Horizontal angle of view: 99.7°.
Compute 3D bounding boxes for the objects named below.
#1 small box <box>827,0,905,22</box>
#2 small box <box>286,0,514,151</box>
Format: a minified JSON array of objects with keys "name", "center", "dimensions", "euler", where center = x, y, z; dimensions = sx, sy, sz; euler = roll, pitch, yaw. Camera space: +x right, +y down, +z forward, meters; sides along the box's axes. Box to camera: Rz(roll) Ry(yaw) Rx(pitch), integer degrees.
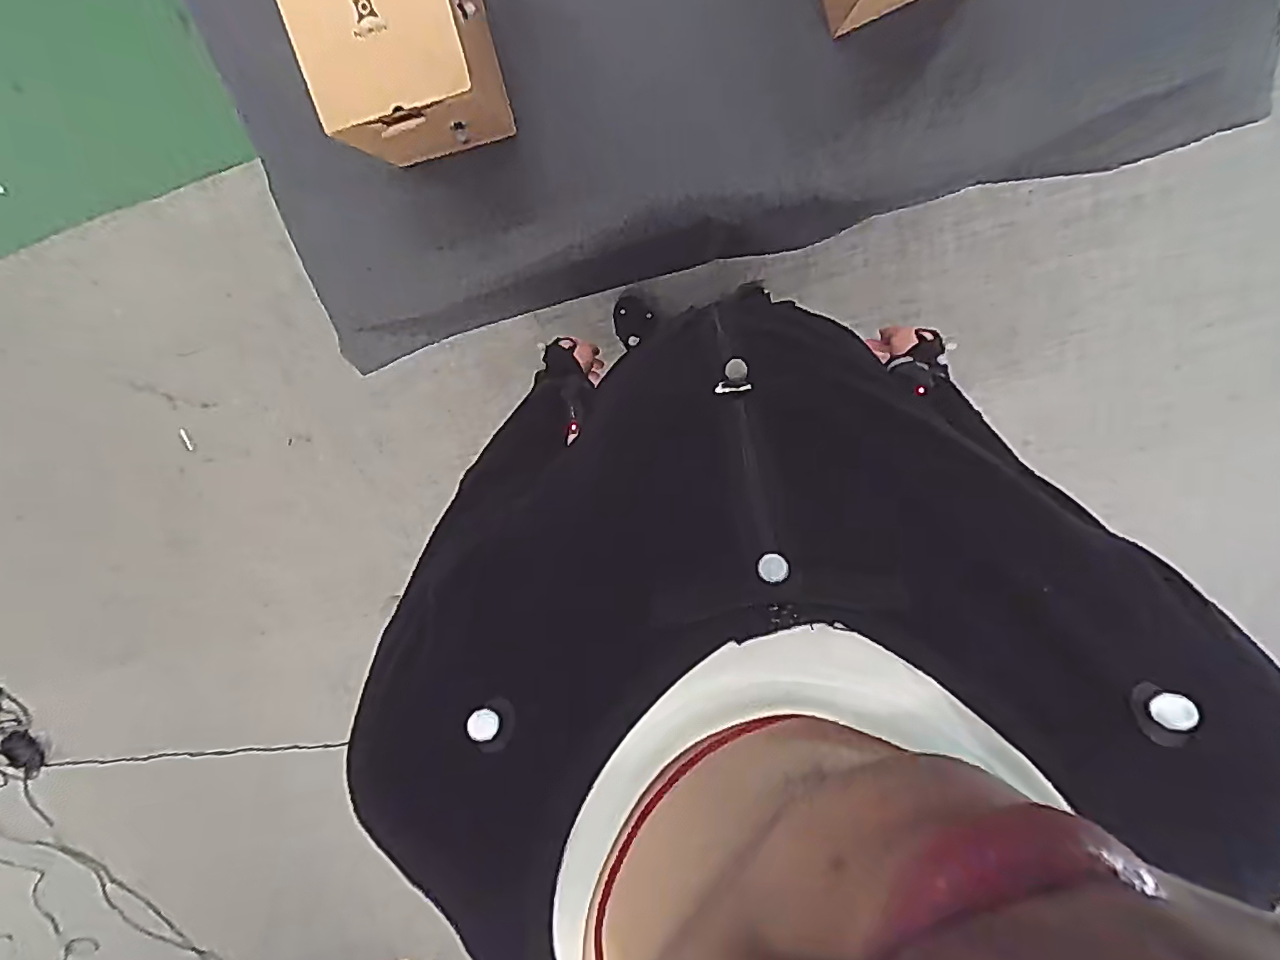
[{"name":"small box","center":[0.269,-0.592,0.521],"dimensions":[0.168,0.176,0.179],"euler":[-19,109,10]},{"name":"small box","center":[-0.253,-0.485,0.593],"dimensions":[0.168,0.176,0.179],"euler":[-11,108,6]}]
